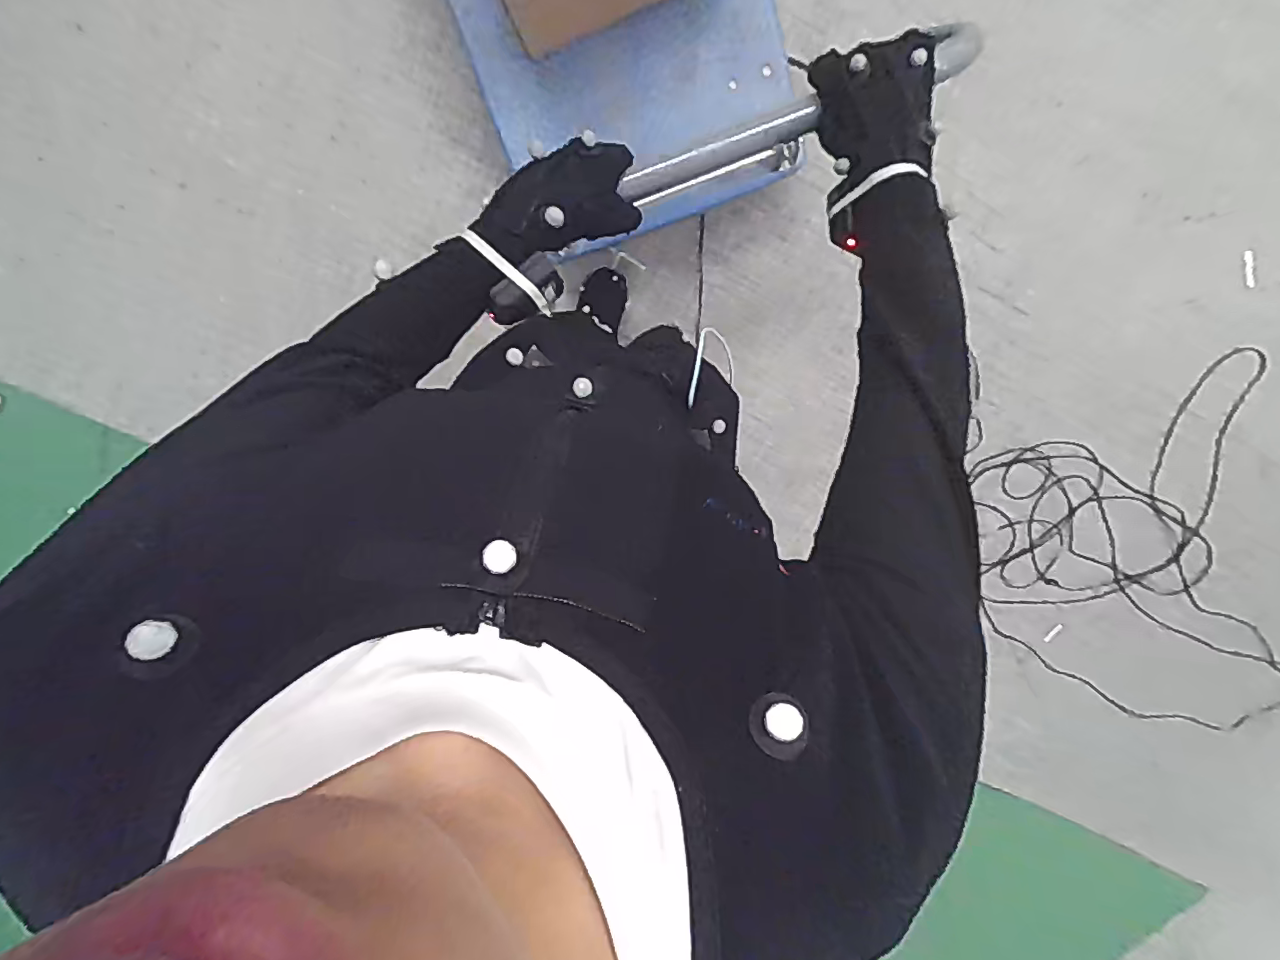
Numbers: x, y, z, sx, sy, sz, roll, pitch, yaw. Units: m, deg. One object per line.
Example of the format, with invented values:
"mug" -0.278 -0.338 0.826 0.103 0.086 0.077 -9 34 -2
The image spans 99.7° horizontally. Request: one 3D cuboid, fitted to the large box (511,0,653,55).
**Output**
"large box" -0.066 -0.959 0.828 0.408 0.320 0.320 -20 108 8
